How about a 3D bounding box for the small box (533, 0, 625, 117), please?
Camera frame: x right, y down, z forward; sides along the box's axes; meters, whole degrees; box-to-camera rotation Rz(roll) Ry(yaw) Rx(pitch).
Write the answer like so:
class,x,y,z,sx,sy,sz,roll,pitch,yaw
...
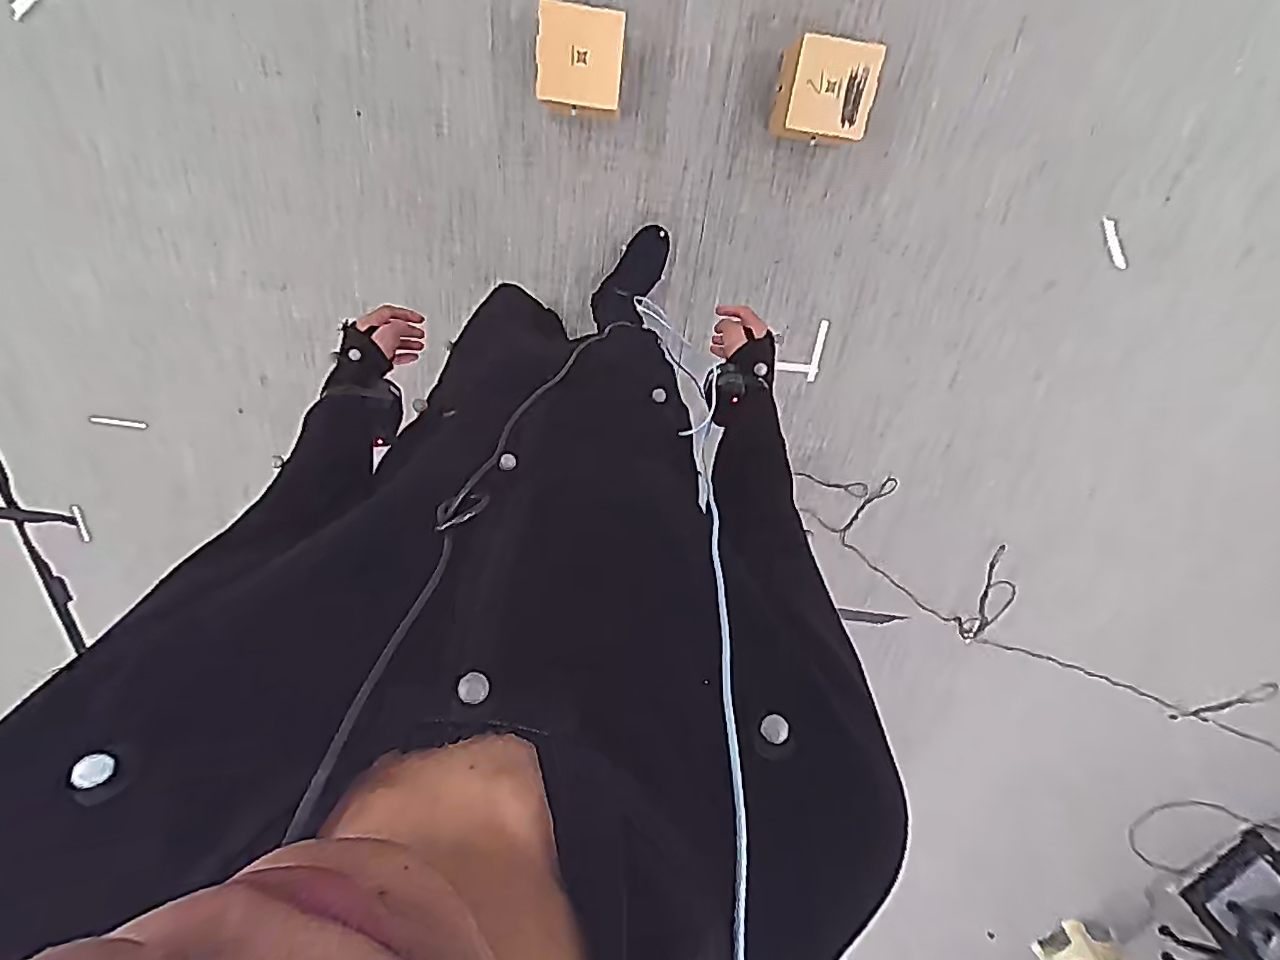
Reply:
class,x,y,z,sx,sy,sz,roll,pitch,yaw
small box,-0.128,-0.900,1.169,0.179,0.176,0.168,7,118,-3
